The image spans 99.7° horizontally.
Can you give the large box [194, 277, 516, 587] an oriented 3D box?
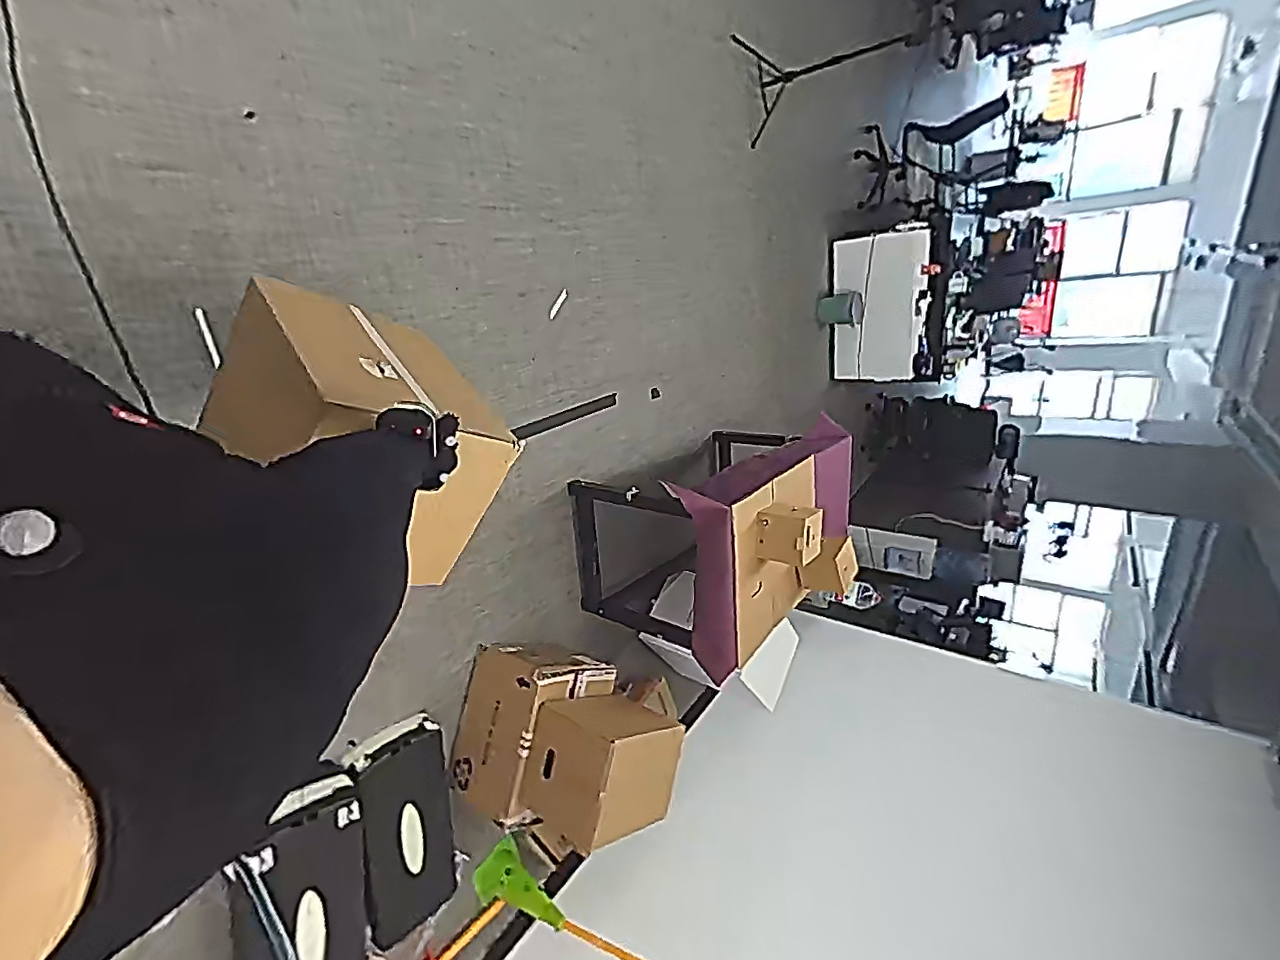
[{"bbox_3d":[-0.497,-0.071,0.930,0.320,0.408,0.320,10,120,-54],"label":"large box"}]
